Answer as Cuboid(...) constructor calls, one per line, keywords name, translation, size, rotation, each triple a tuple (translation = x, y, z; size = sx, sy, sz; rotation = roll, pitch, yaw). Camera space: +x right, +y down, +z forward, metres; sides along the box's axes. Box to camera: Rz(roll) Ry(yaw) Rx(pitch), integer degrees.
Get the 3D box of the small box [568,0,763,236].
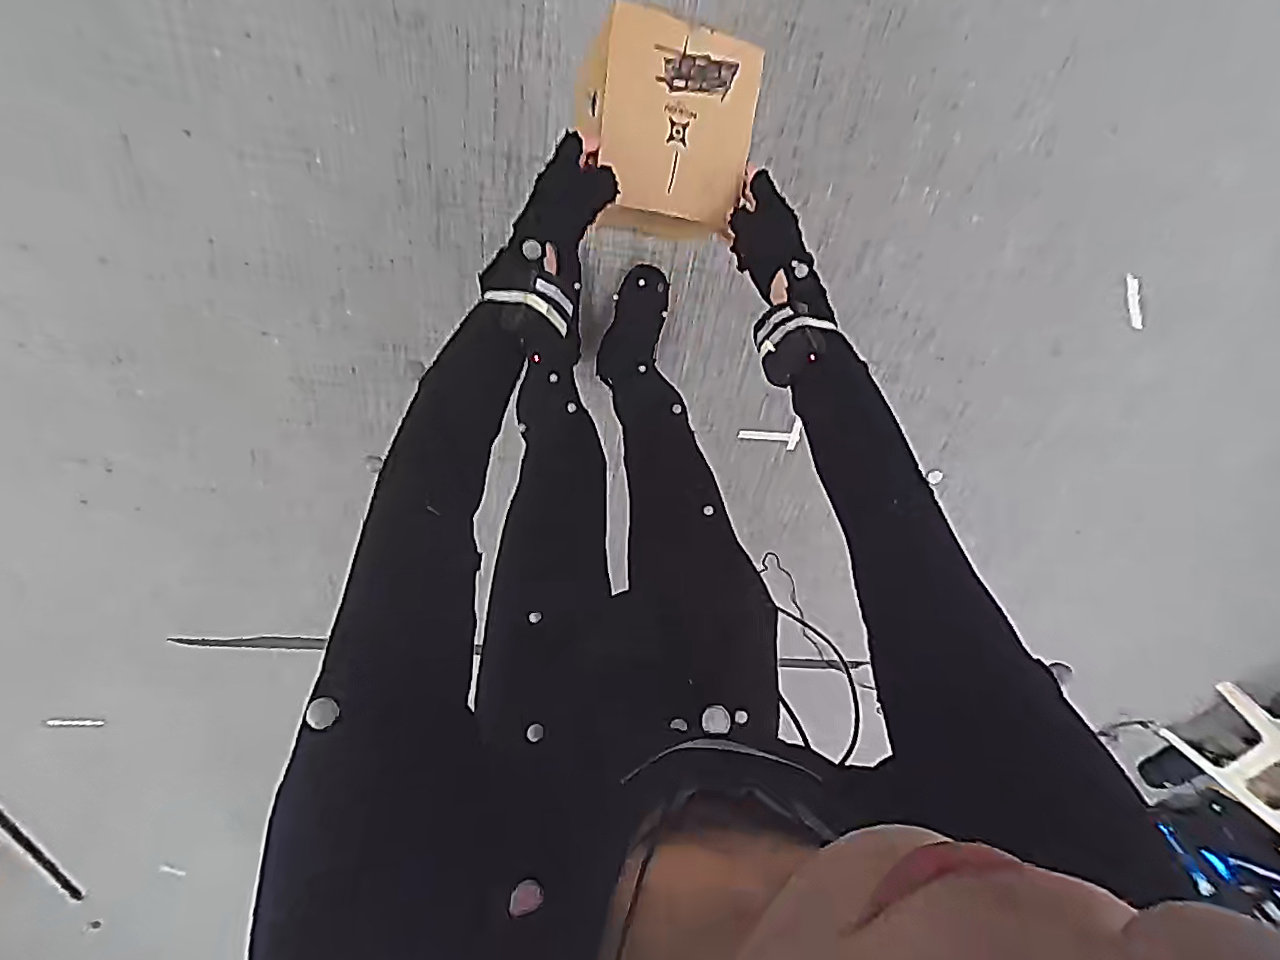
Cuboid(name="small box", translation=(0.016, -0.396, 0.628), size=(0.168, 0.176, 0.179), rotation=(2, 109, -18))
